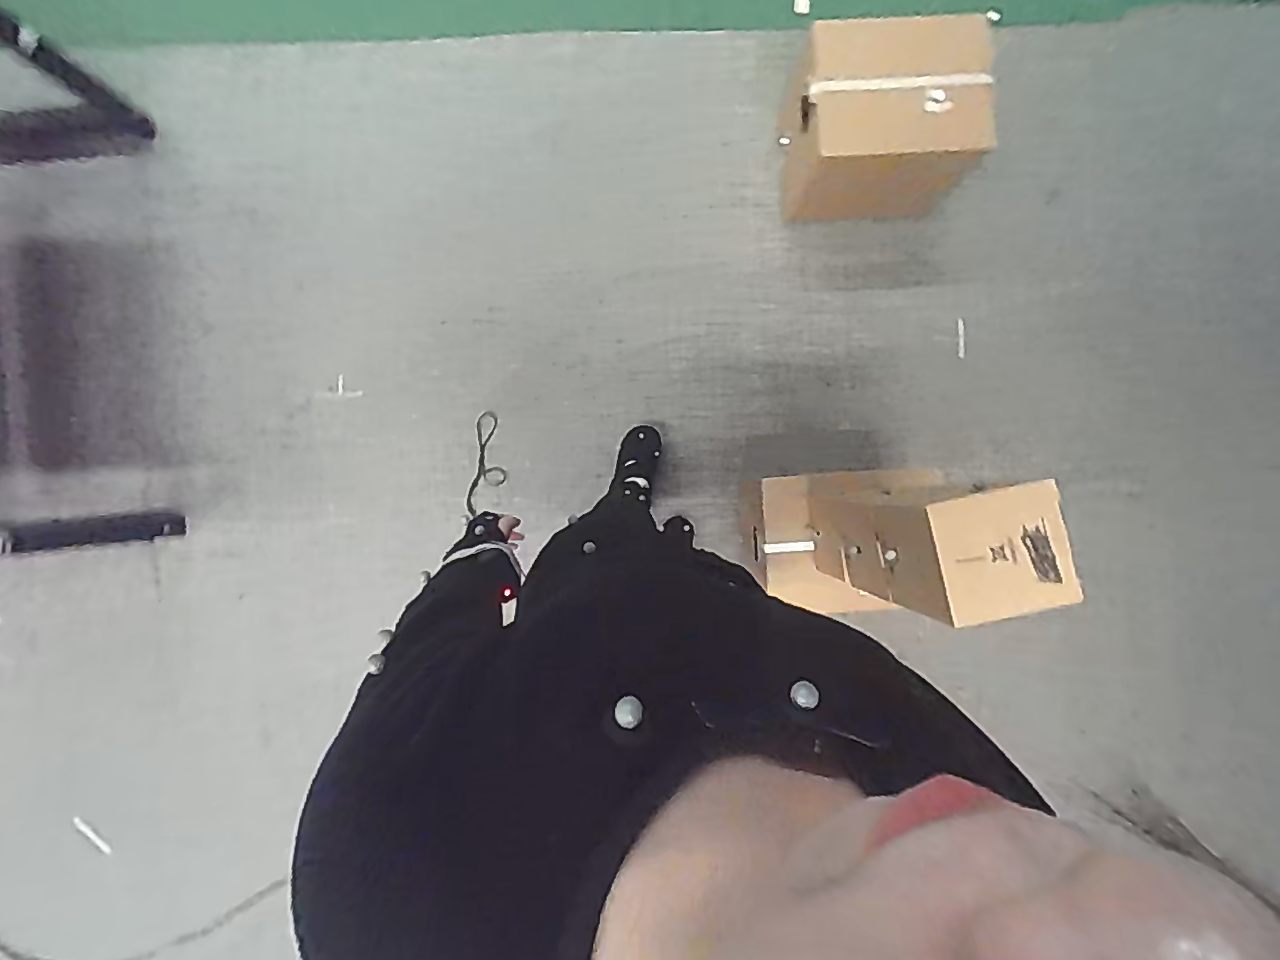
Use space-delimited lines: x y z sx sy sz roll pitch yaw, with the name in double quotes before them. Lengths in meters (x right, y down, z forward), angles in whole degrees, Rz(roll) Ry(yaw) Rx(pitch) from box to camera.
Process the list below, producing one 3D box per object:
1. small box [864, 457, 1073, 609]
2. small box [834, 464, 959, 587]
"small box" 0.460 0.070 0.784 0.179 0.176 0.168 -16 87 0
"small box" 0.459 0.077 0.949 0.179 0.176 0.168 -16 88 0
